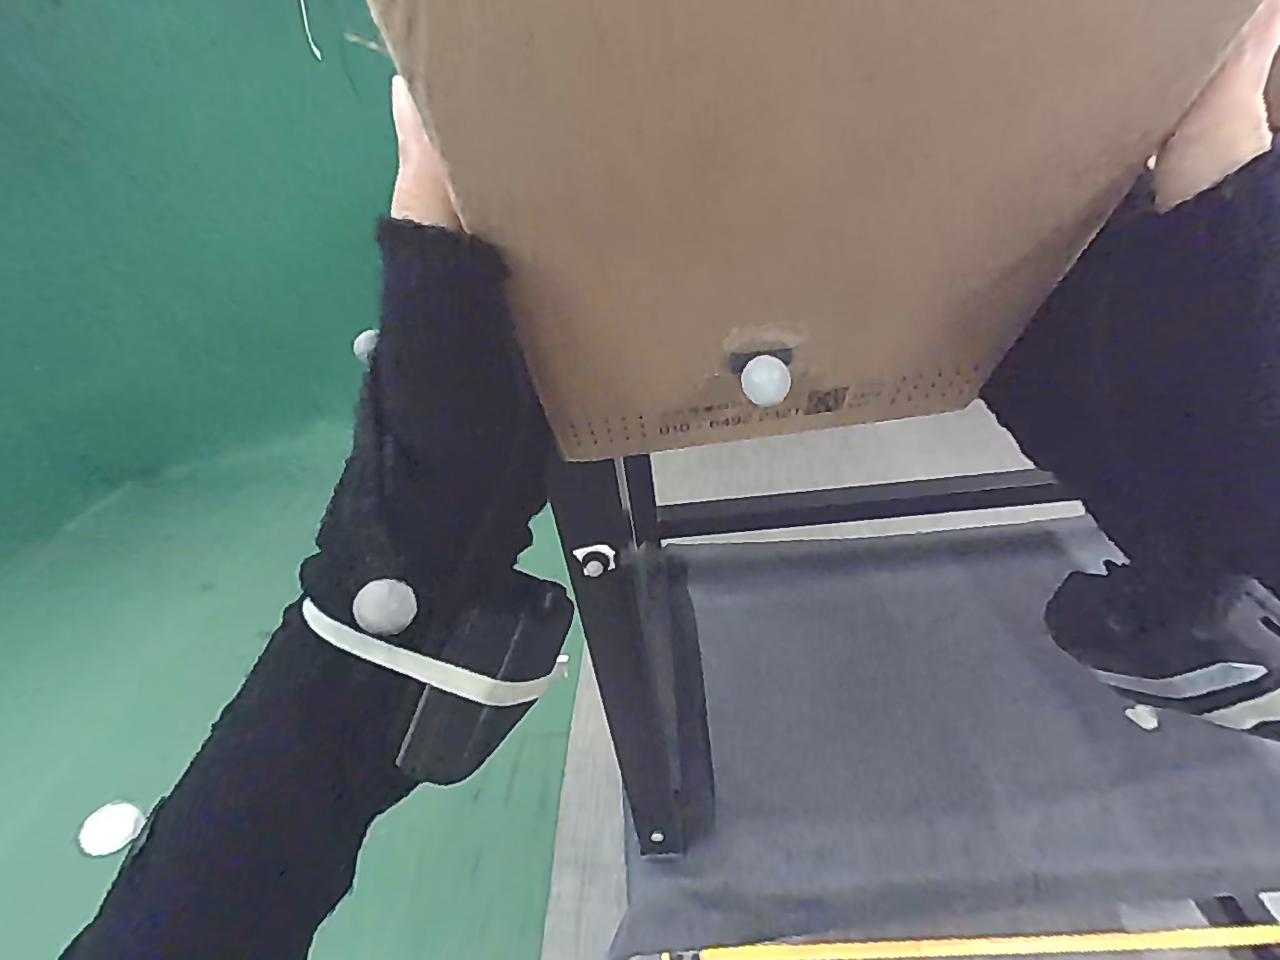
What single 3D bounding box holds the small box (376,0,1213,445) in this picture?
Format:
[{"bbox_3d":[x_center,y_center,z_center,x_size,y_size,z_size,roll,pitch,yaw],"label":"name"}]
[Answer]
[{"bbox_3d":[0.029,-0.136,0.191,0.168,0.176,0.179,-8,62,3],"label":"small box"}]
